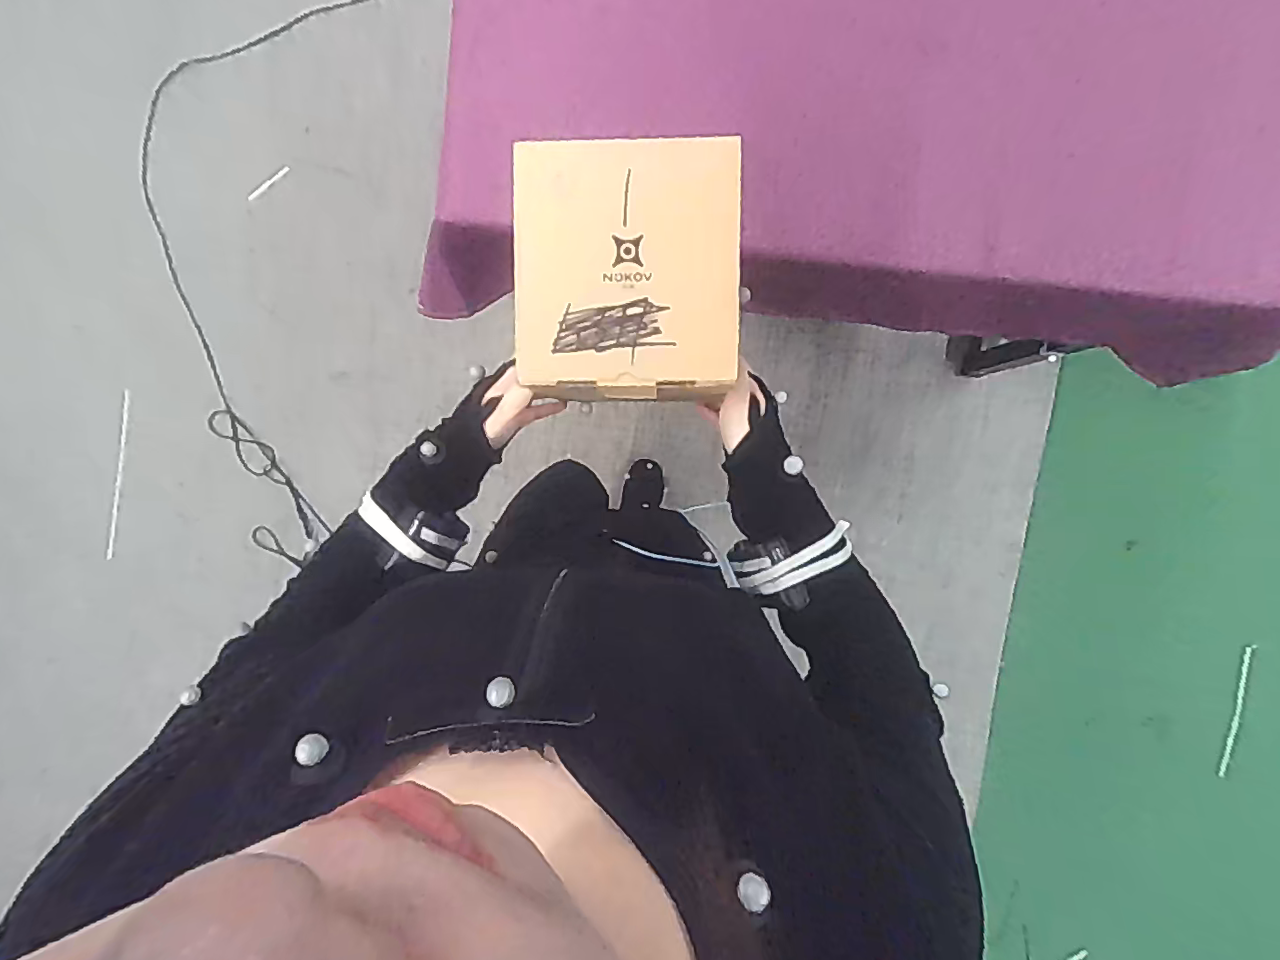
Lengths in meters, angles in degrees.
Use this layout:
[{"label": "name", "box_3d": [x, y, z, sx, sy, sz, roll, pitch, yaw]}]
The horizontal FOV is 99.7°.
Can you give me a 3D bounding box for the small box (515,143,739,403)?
[{"label": "small box", "box_3d": [-0.007, -0.161, 0.476, 0.168, 0.176, 0.179, 1, 93, 3]}]
